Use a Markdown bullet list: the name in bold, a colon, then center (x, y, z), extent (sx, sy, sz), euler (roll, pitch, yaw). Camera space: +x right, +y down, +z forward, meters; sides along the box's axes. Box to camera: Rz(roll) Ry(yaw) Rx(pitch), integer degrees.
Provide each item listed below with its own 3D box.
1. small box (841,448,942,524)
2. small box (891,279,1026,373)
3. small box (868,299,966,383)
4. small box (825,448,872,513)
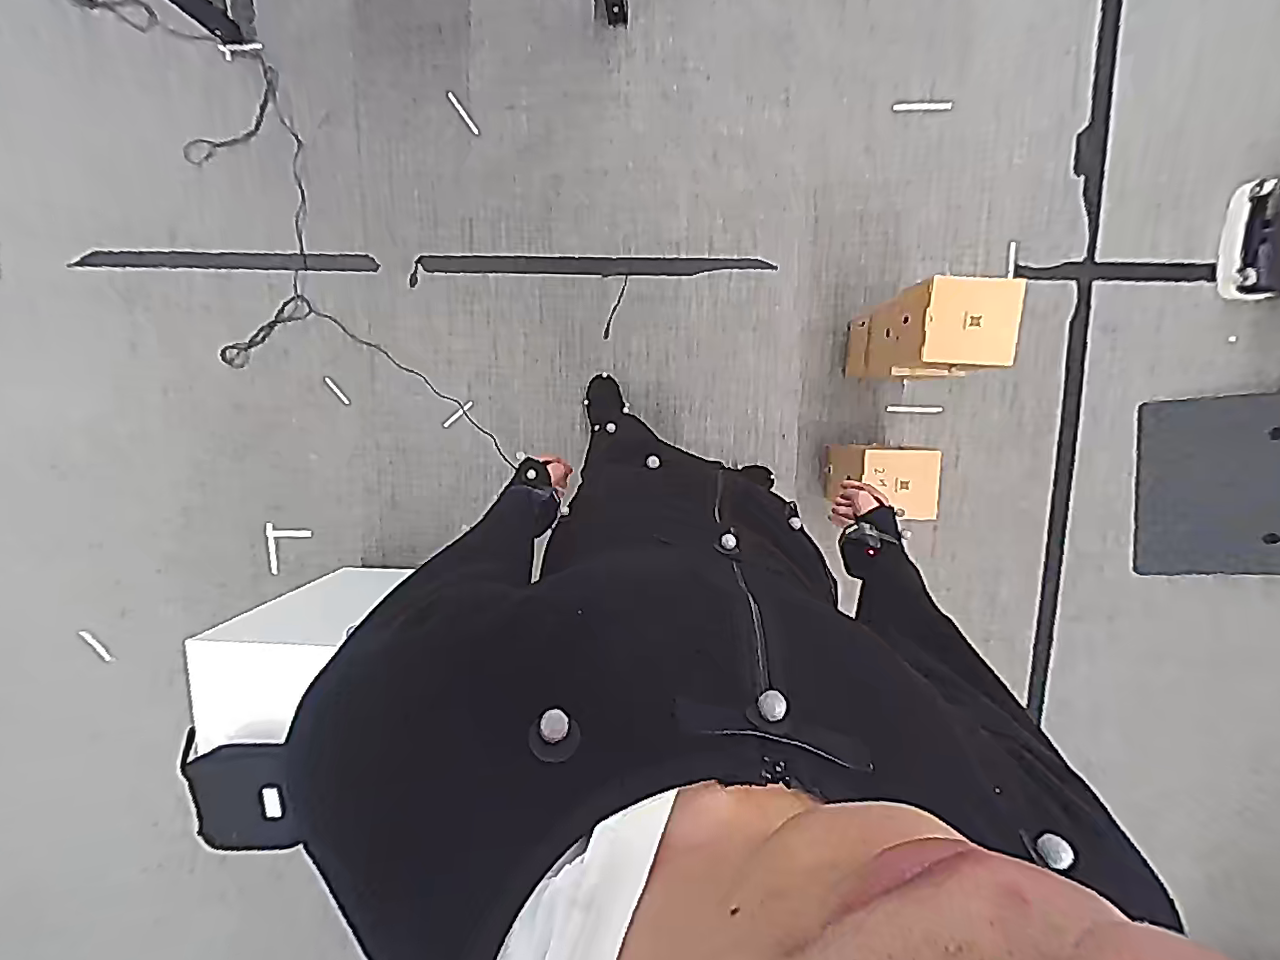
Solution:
- **small box**: center (0.614, 0.009, 1.339), extent (0.179, 0.176, 0.168), euler (1, 97, 5)
- **small box**: center (0.651, -0.313, 1.124), extent (0.179, 0.176, 0.168), euler (4, 99, 5)
- **small box**: center (0.658, -0.325, 1.287), extent (0.168, 0.176, 0.179), euler (2, 99, 5)
- **small box**: center (0.626, -0.001, 1.503), extent (0.179, 0.176, 0.168), euler (0, 96, 6)
